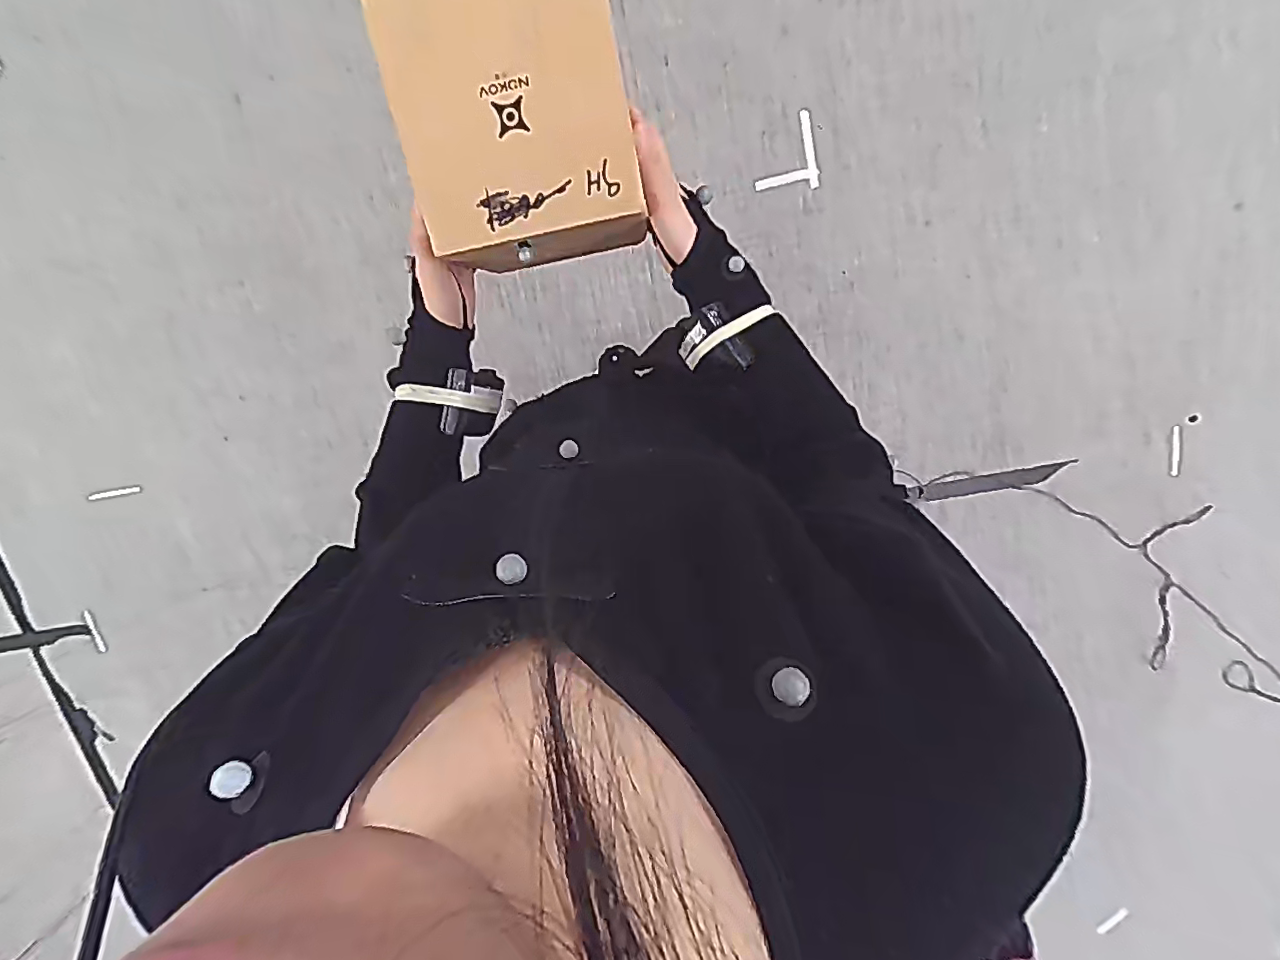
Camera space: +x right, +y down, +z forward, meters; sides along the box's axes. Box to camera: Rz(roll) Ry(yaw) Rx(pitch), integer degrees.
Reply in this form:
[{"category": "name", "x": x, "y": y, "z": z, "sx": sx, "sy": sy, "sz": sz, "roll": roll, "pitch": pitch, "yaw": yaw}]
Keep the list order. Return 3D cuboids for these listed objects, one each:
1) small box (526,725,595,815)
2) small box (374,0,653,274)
[{"category": "small box", "x": -0.233, "y": 0.855, "z": 1.608, "sx": 0.179, "sy": 0.176, "sz": 0.168, "roll": 6, "pitch": 102, "yaw": -3}, {"category": "small box", "x": -0.086, "y": -0.285, "z": 0.456, "sx": 0.168, "sy": 0.176, "sz": 0.179, "roll": -10, "pitch": 106, "yaw": 3}]
